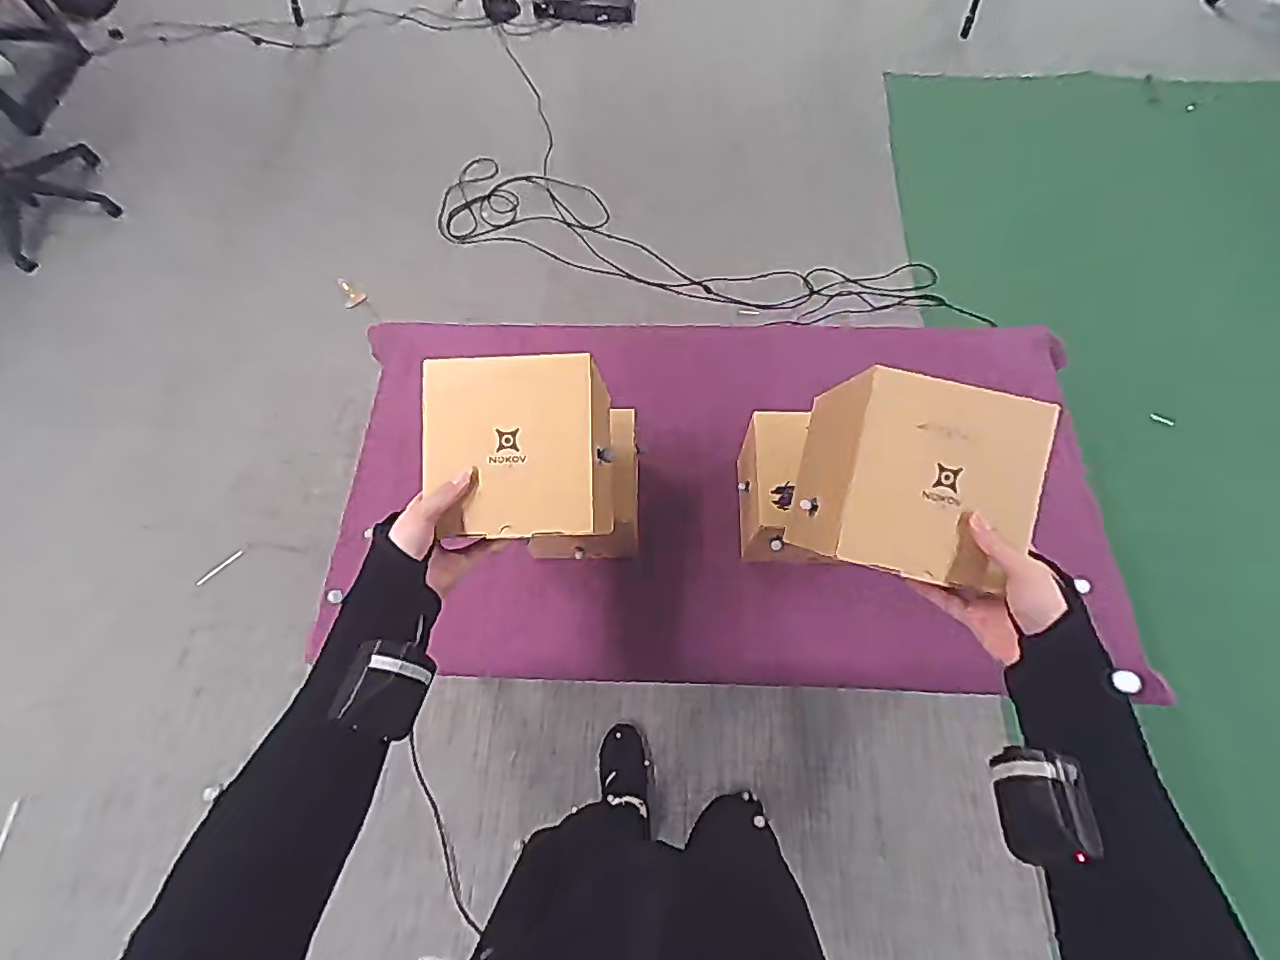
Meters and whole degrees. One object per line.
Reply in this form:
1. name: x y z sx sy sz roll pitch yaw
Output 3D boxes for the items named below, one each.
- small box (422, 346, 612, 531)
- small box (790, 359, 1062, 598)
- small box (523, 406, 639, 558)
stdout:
1. small box: -0.120 -0.034 0.588 0.168 0.176 0.179 -1 86 2
2. small box: 0.262 0.000 0.541 0.168 0.176 0.179 14 88 0
3. small box: -0.088 0.006 0.799 0.168 0.176 0.179 0 67 2
